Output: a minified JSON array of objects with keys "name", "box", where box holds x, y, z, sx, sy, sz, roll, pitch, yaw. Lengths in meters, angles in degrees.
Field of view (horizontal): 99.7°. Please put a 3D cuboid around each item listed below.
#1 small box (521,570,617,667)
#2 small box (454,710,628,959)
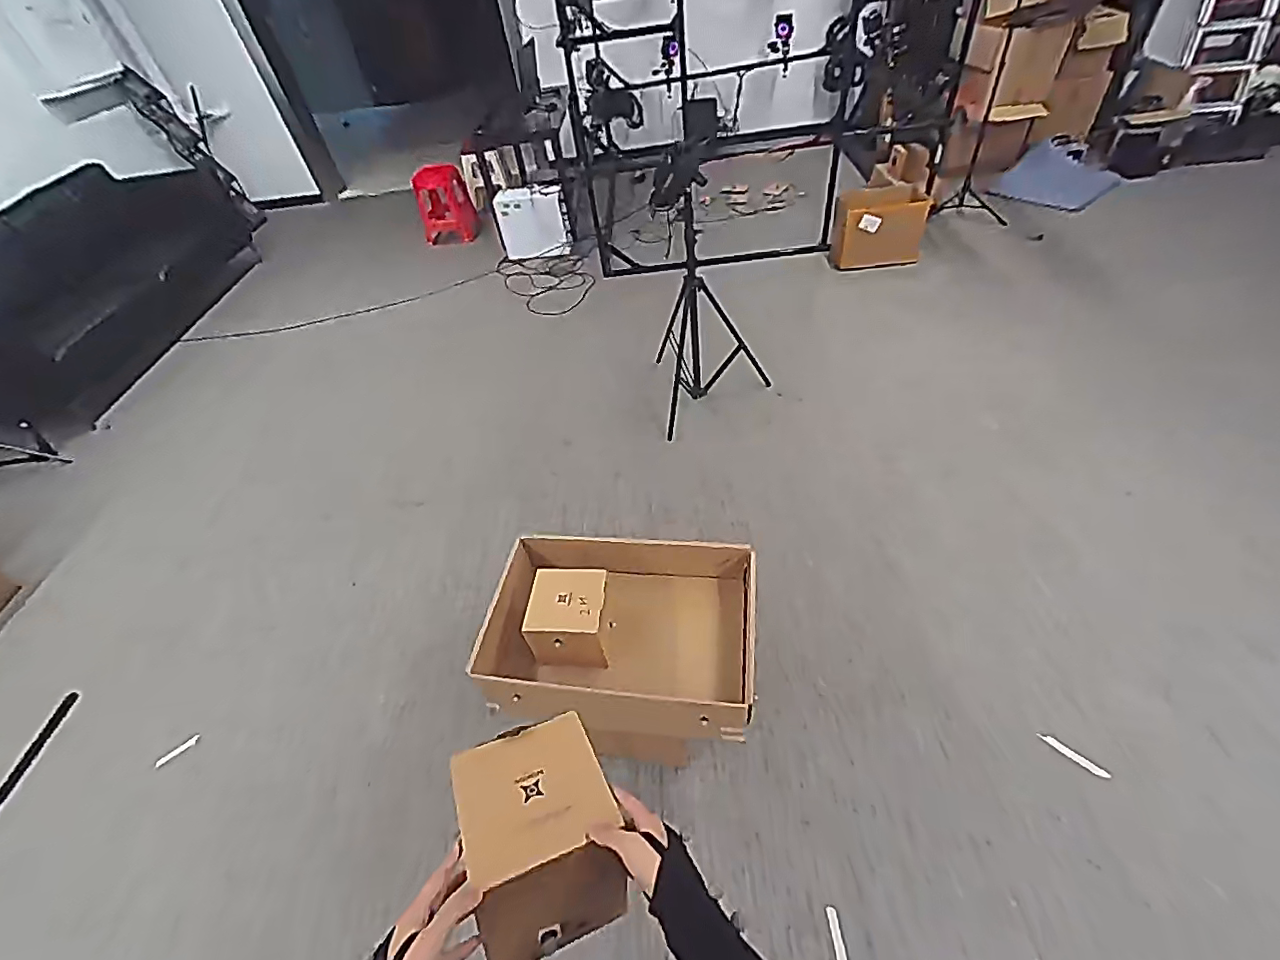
[{"name":"small box","box":[-0.160,0.332,1.290,0.179,0.176,0.168,0,47,8]},{"name":"small box","box":[-0.121,0.425,0.655,0.168,0.176,0.179,-12,26,-22]}]
